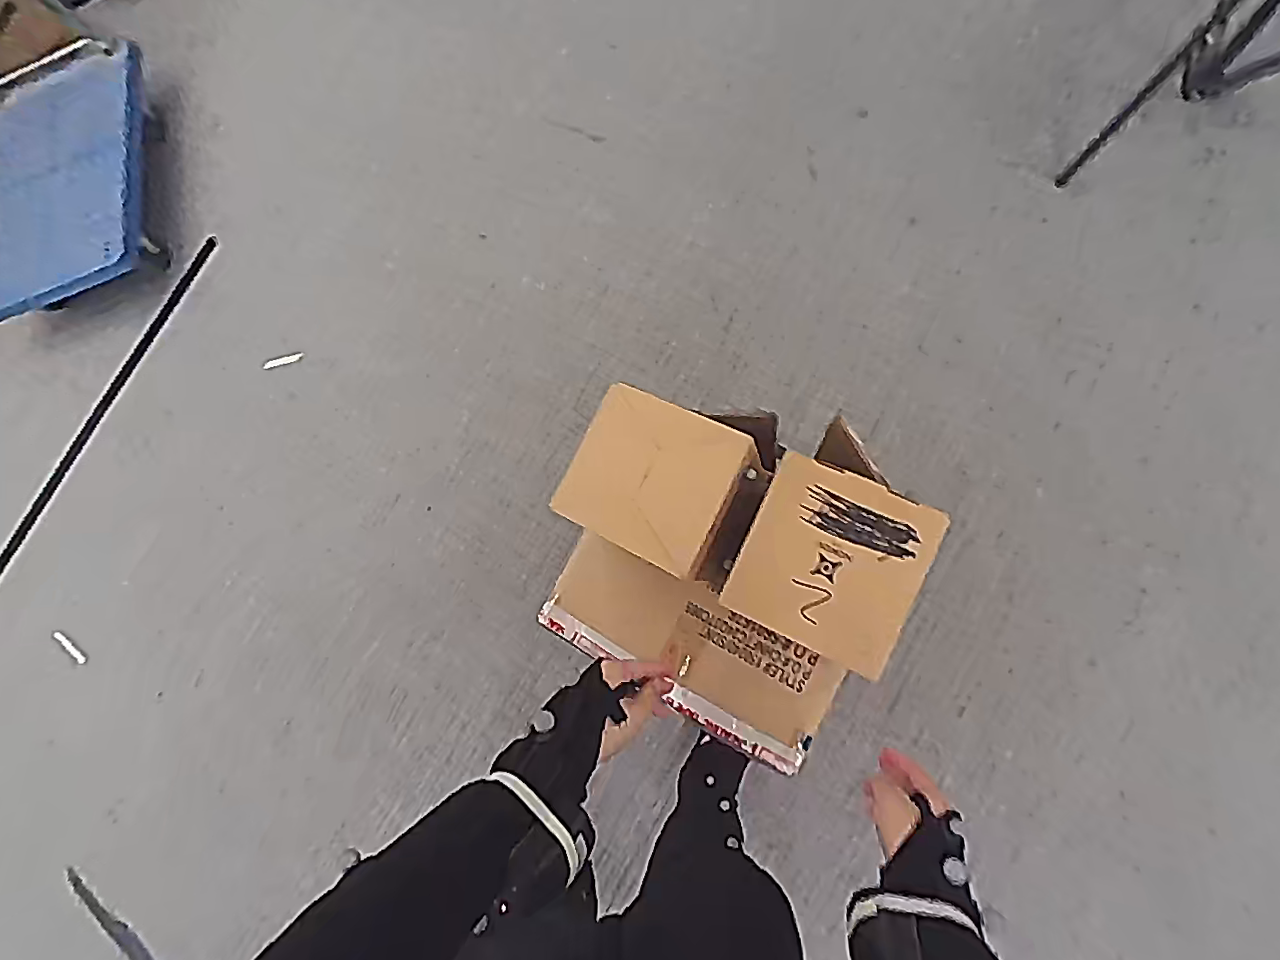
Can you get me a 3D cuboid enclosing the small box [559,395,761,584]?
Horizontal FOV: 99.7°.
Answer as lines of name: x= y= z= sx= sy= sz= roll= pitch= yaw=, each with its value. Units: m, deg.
small box: x=0.032 y=0.018 z=0.667 sx=0.179 sy=0.176 sz=0.168 roll=26 pitch=86 yaw=19
